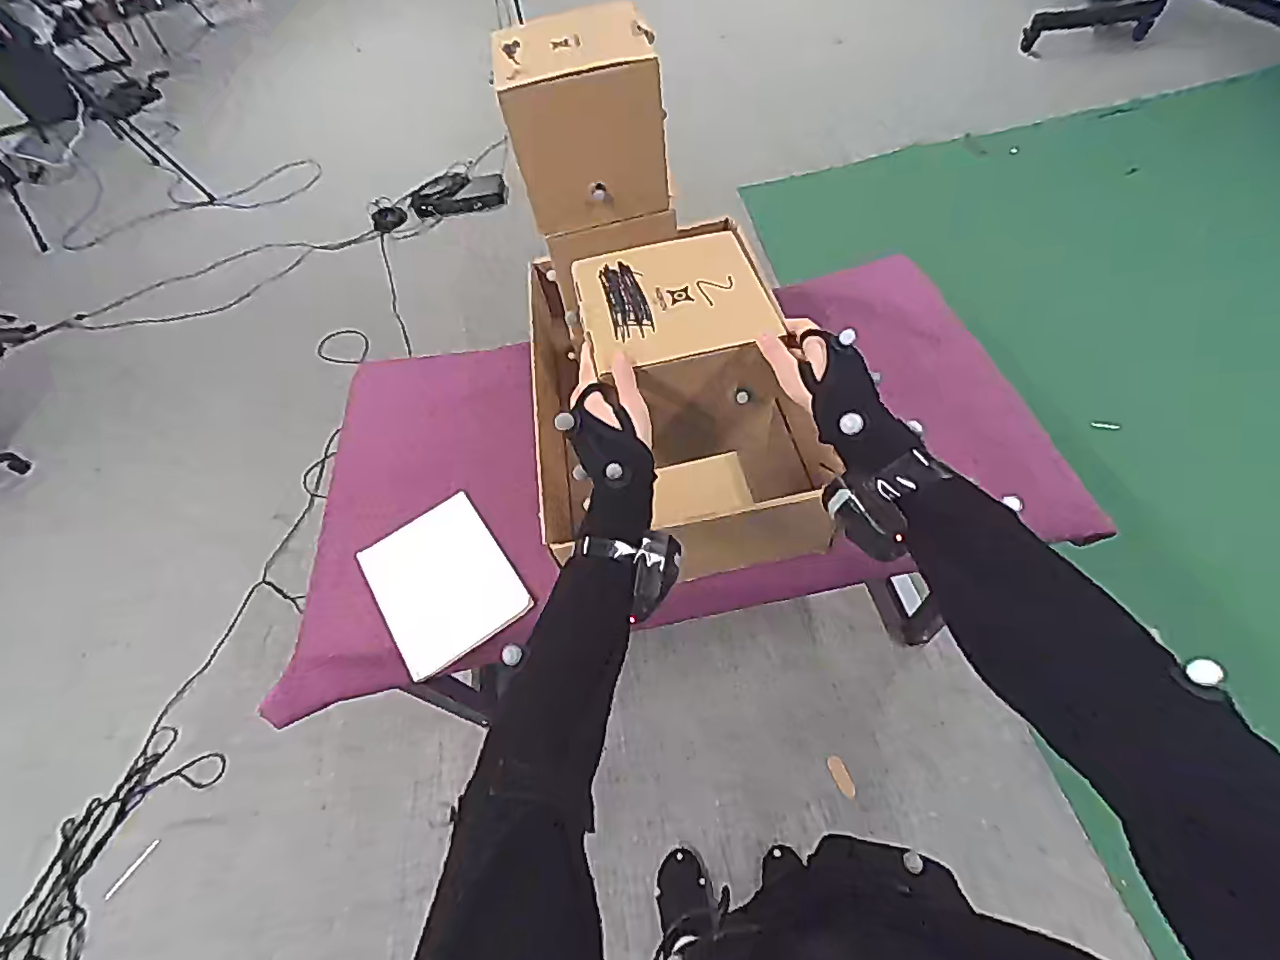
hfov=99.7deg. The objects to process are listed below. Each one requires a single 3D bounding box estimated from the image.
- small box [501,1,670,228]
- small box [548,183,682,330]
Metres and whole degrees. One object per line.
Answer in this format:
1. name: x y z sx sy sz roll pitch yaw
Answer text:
1. small box: -0.061 -0.444 0.668 0.179 0.176 0.168 -11 56 0
2. small box: -0.038 -0.353 0.803 0.179 0.176 0.168 -14 57 0
